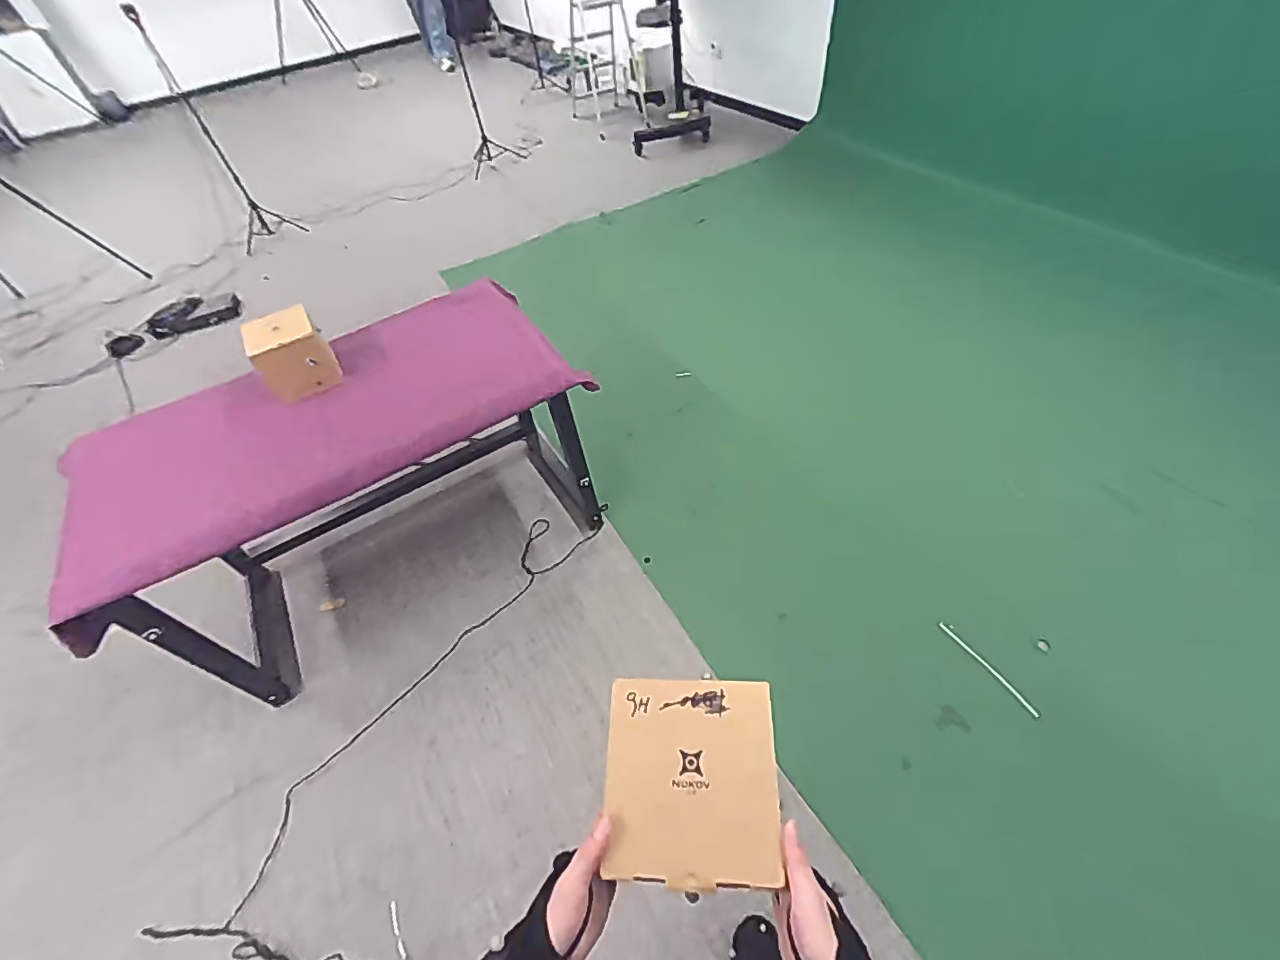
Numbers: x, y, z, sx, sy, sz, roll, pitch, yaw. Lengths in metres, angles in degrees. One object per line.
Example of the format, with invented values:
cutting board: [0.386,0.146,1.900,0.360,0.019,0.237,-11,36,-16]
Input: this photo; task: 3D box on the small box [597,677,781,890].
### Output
small box: [0.055,0.323,0.584,0.168,0.176,0.179,-2,56,6]

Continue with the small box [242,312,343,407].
small box: [-0.946,-0.324,1.481,0.168,0.176,0.179,-29,52,-16]
